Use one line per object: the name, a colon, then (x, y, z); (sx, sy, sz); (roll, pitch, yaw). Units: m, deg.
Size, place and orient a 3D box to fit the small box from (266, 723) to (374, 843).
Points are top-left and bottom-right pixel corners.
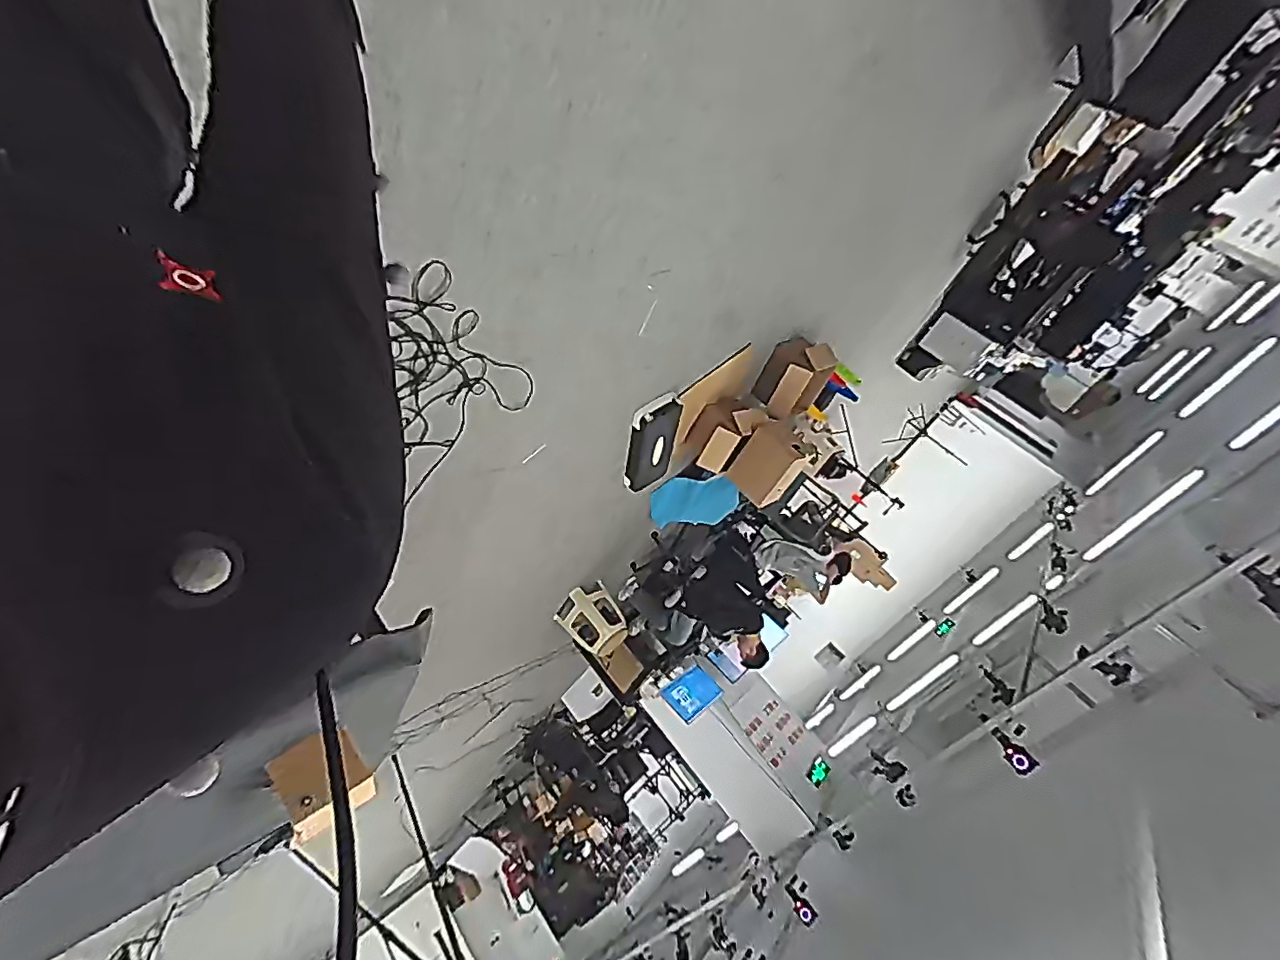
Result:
small box: (-0.775, 0.732, 1.319); (0.179, 0.176, 0.168); (-24, 150, -39)
